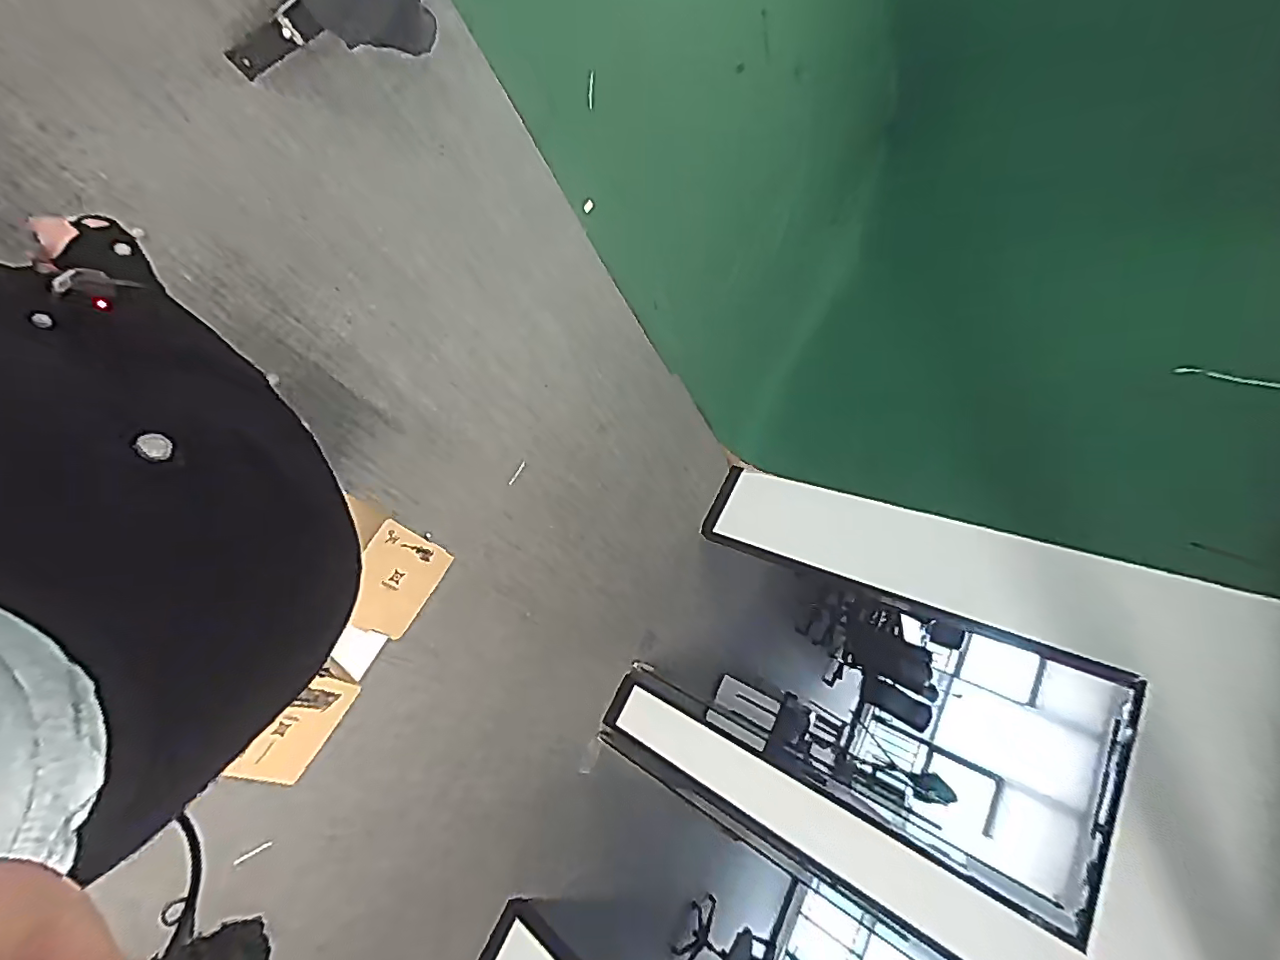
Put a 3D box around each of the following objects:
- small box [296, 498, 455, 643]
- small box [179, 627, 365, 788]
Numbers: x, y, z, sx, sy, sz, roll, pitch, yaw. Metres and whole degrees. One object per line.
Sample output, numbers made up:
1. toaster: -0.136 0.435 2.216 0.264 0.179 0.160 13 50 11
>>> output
1. small box: -0.481 0.159 0.976 0.179 0.176 0.168 -58 141 -16
2. small box: -0.609 0.370 0.895 0.179 0.176 0.168 -58 140 -18
